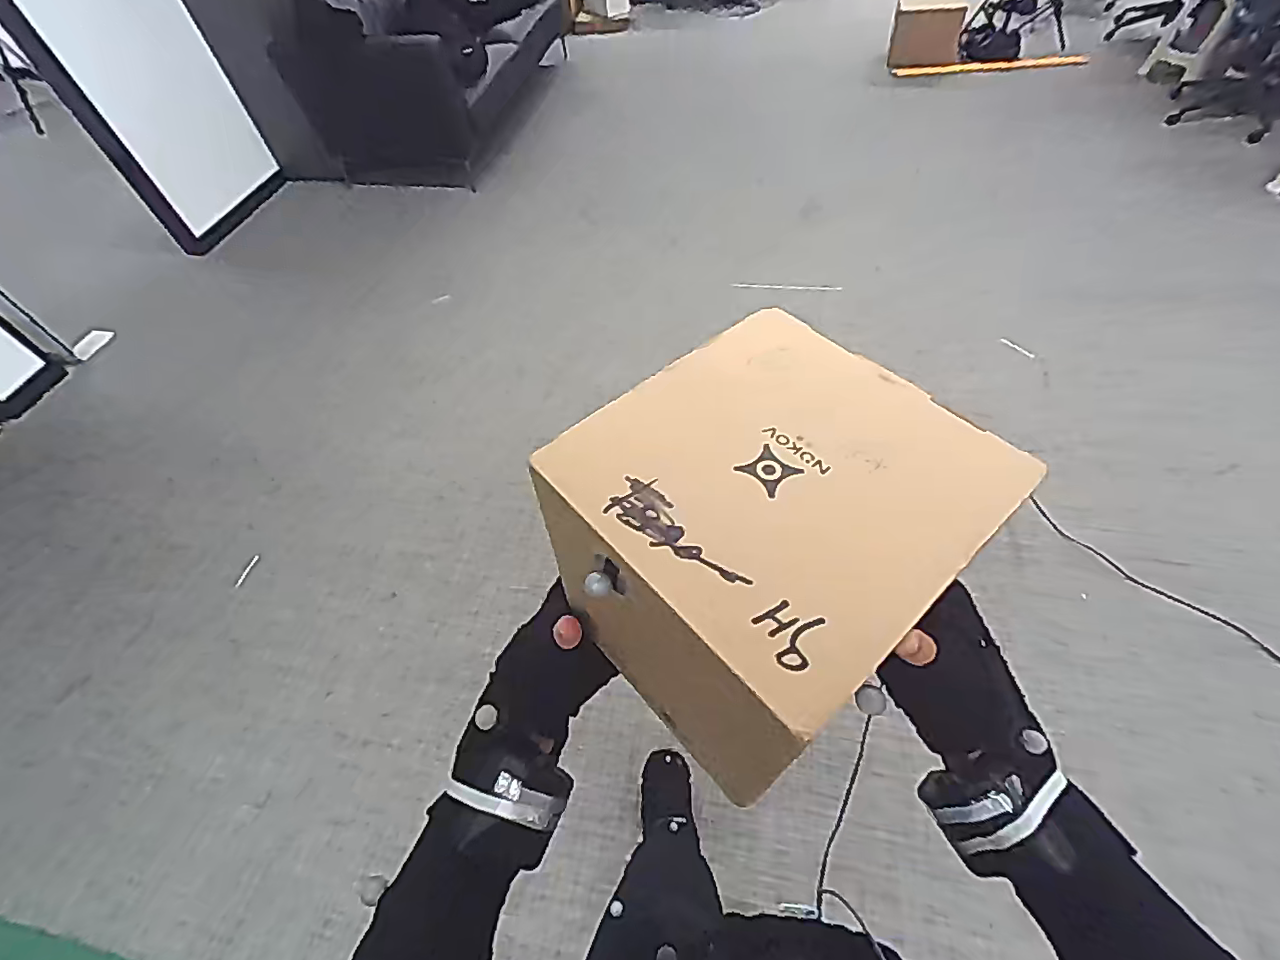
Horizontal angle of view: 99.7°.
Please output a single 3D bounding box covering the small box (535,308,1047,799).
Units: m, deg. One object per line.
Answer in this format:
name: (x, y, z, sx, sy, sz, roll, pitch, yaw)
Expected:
small box: (0.067, 0.041, 0.306, 0.179, 0.176, 0.168, -35, 58, -23)
